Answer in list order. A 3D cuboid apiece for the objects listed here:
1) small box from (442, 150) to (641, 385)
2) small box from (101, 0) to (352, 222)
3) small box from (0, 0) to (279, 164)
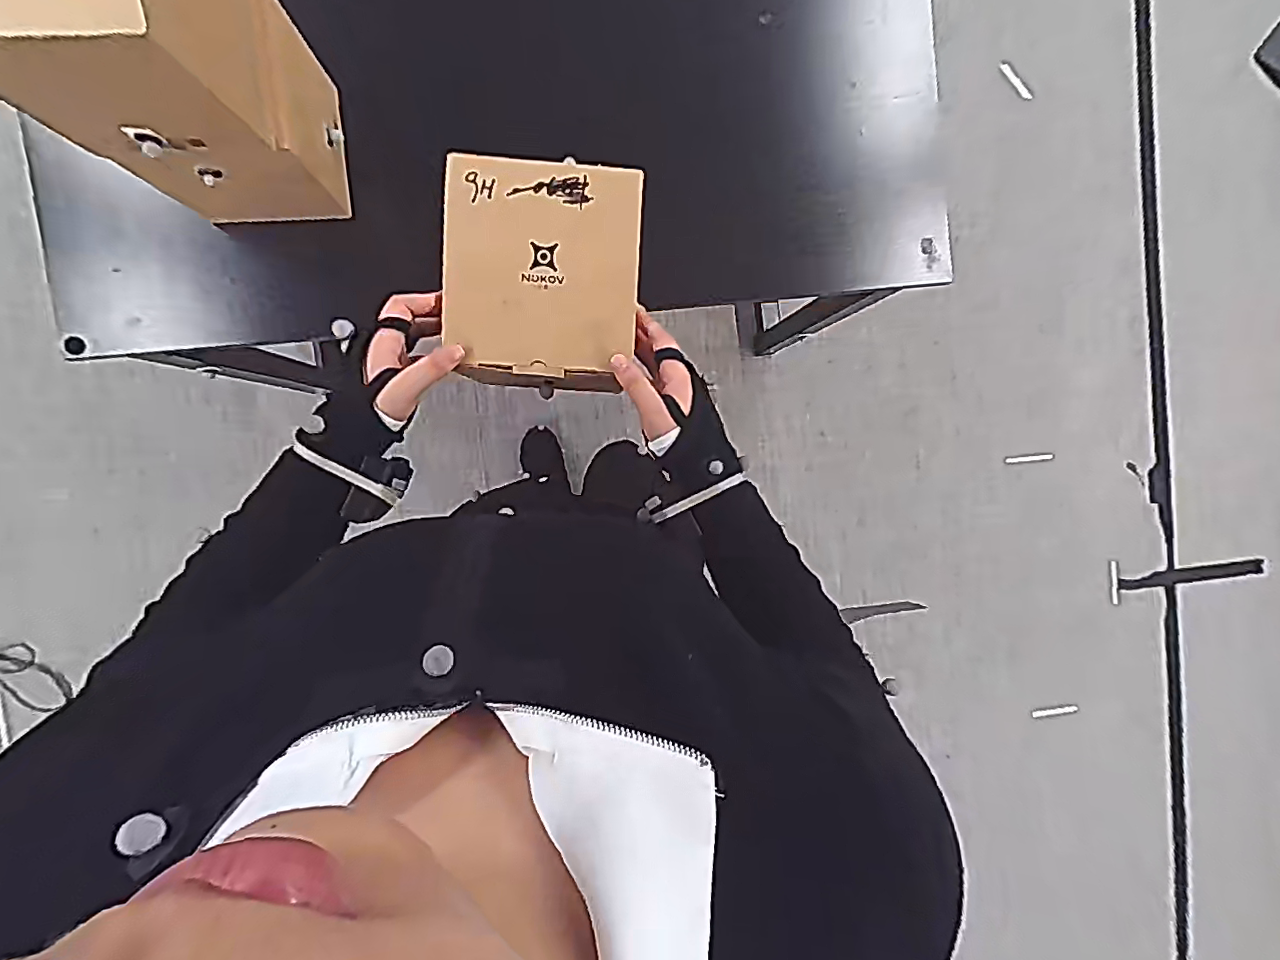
[{"bbox_3d":[-0.089,-0.191,0.541,0.168,0.176,0.179,3,95,-4],"label":"small box"},{"bbox_3d":[-0.461,-0.412,0.619,0.179,0.176,0.168,-5,94,-7],"label":"small box"},{"bbox_3d":[-0.445,-0.402,0.457,0.168,0.176,0.179,-6,95,-5],"label":"small box"}]
